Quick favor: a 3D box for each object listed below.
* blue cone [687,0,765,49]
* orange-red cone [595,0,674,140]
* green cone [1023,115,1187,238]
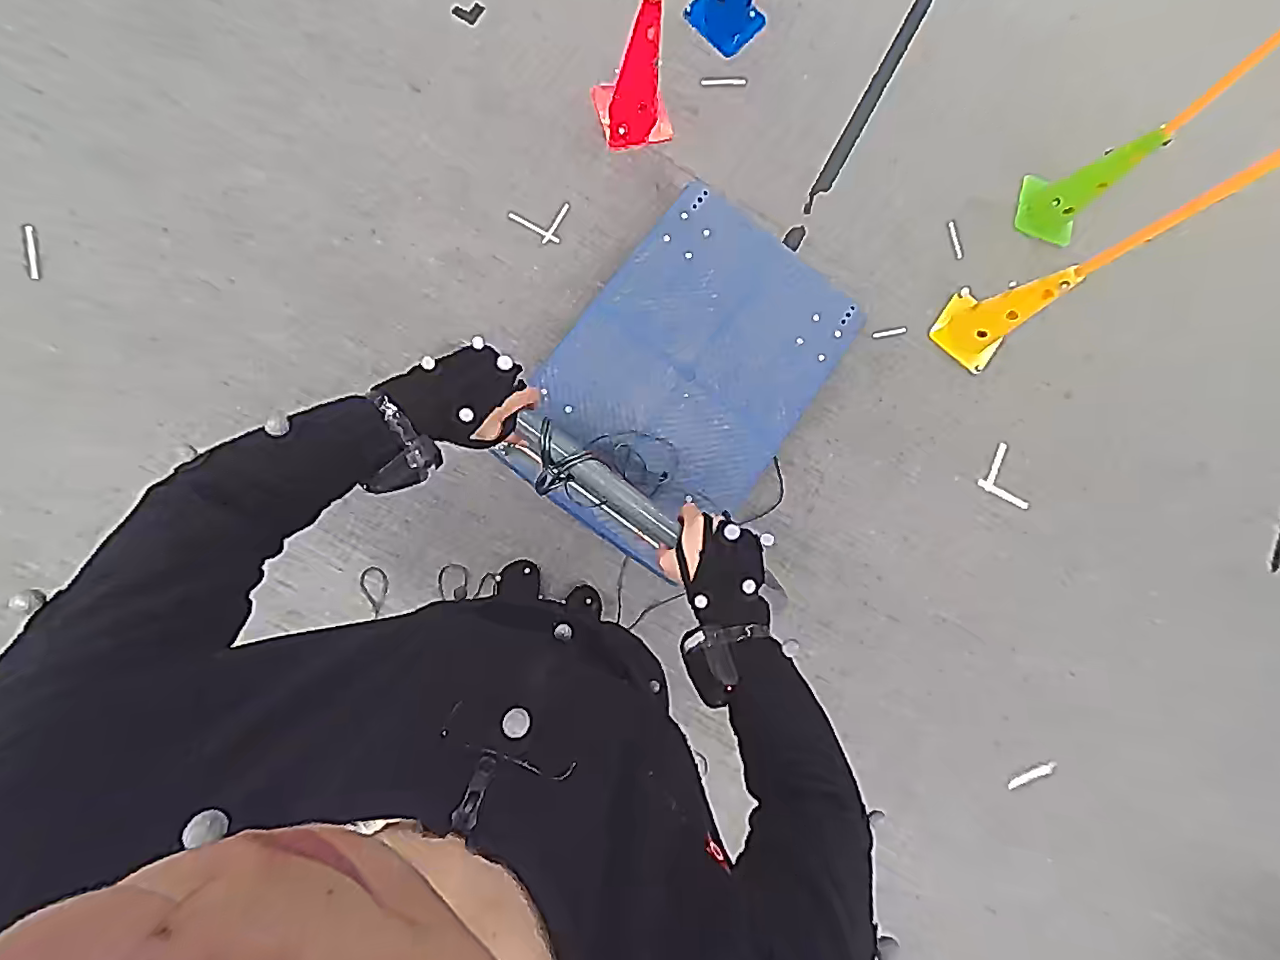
[{"bbox_3d":[0.284,-1.426,1.464,0.193,0.380,0.192,44,81,-2],"label":"blue cone"},{"bbox_3d":[0.013,-1.087,1.372,0.199,0.360,0.198,-16,87,-11],"label":"orange-red cone"},{"bbox_3d":[1.336,-0.894,1.540,0.200,0.368,0.202,15,83,-6],"label":"green cone"}]
